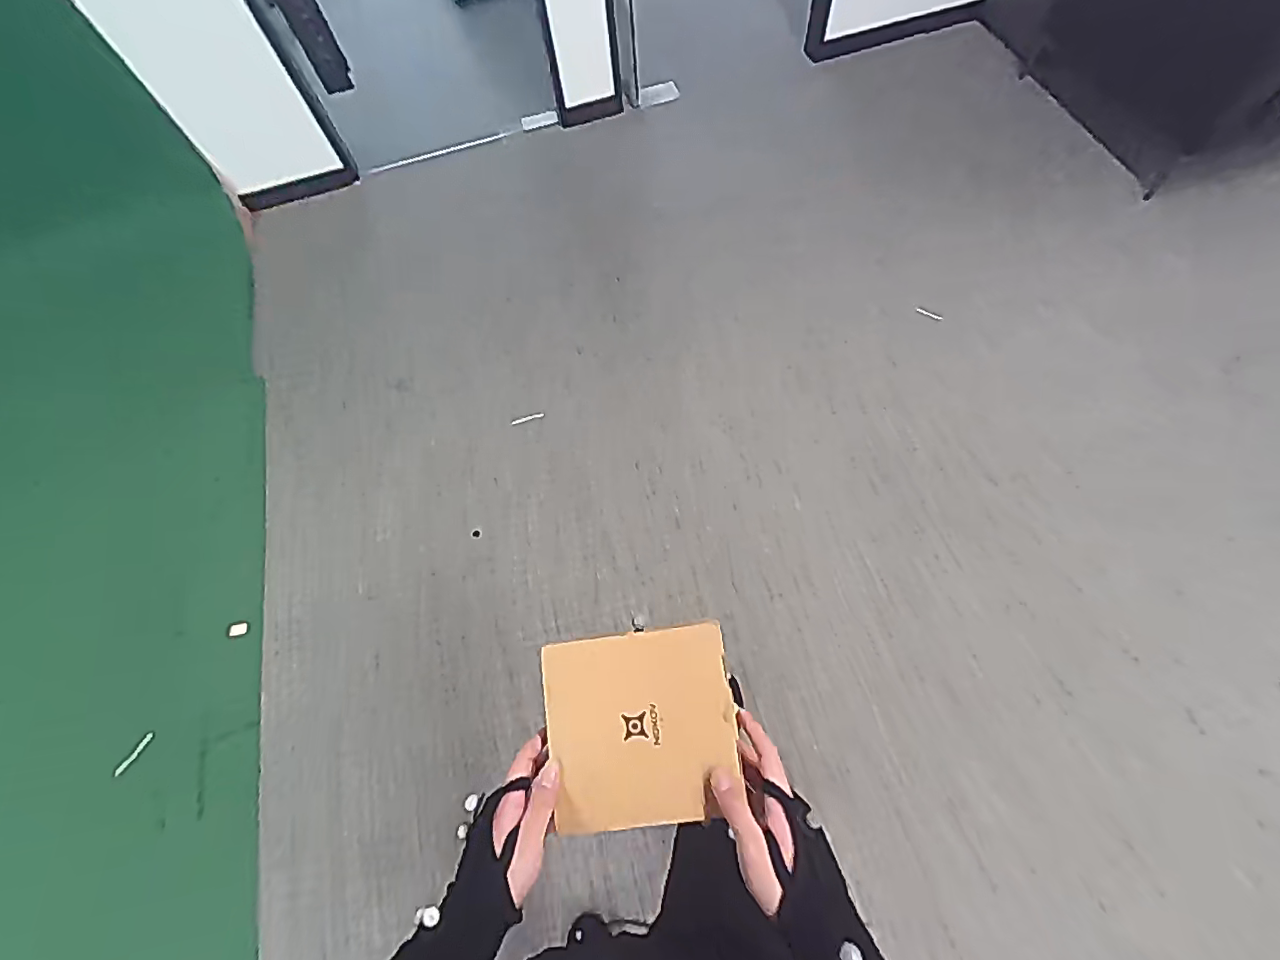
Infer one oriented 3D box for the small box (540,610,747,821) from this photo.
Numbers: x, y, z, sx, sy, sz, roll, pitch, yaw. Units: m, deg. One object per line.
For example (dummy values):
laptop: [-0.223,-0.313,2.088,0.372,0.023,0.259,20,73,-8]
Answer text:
small box: [0.005,0.232,0.567,0.179,0.176,0.168,-8,75,2]
